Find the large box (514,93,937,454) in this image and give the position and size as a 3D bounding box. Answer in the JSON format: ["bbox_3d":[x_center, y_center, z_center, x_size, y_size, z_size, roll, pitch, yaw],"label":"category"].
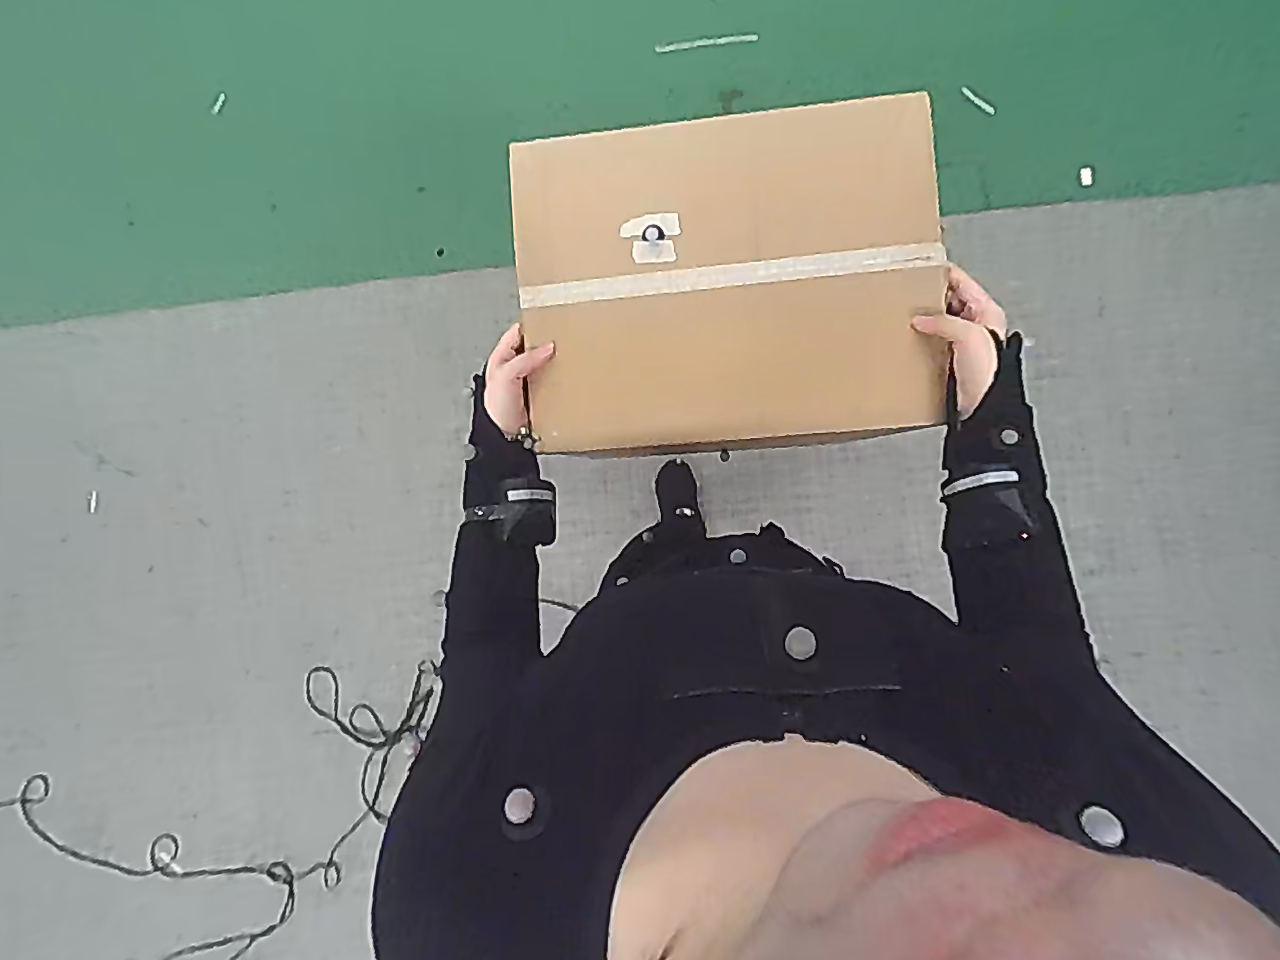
[{"bbox_3d":[0.095,-0.204,0.686,0.408,0.320,0.320,-4,90,7],"label":"large box"}]
